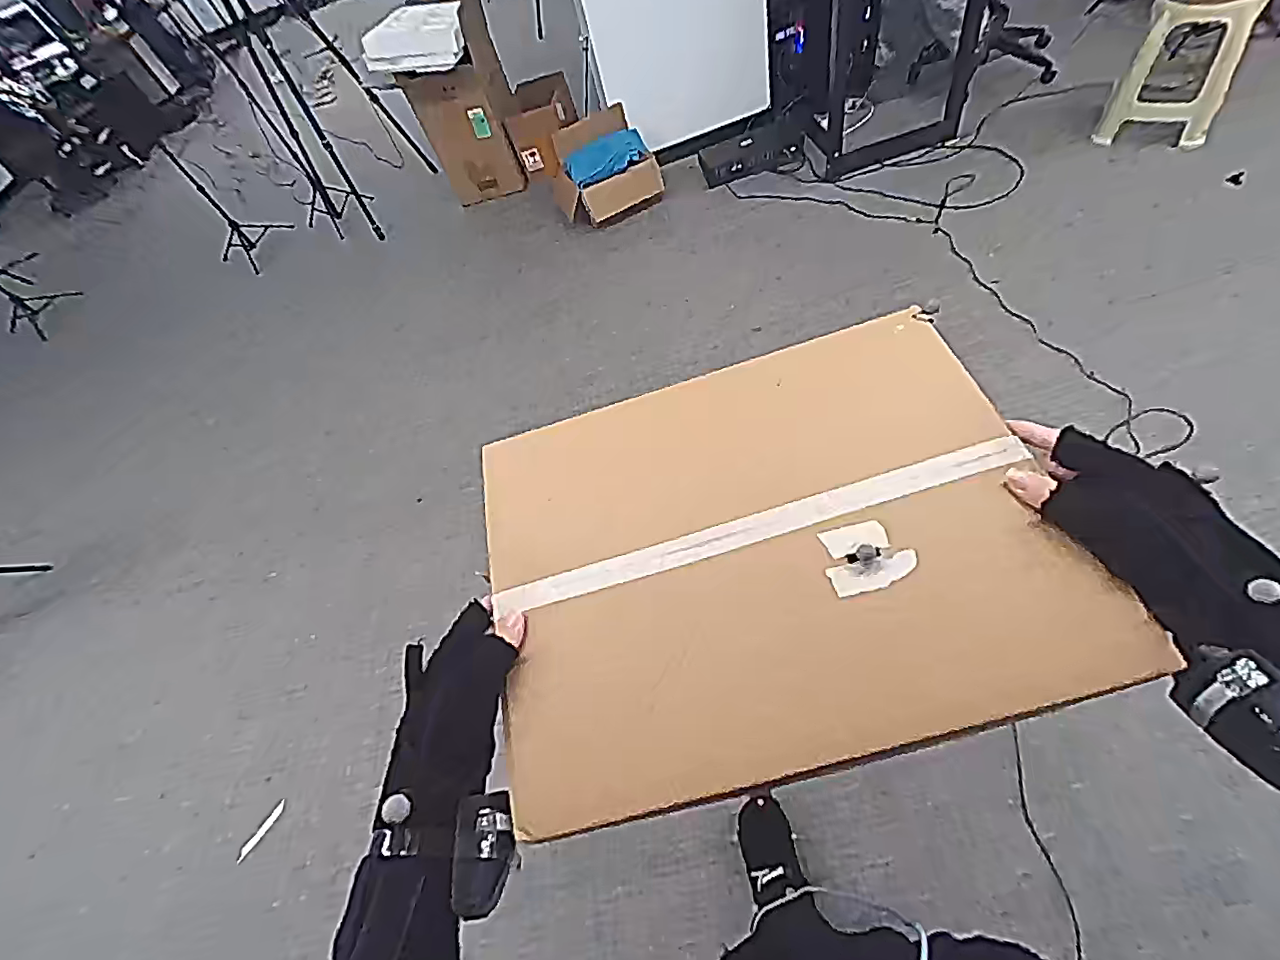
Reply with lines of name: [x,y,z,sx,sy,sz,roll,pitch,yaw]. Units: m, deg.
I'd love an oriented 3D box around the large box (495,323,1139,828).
large box: [0.114,0.115,0.543,0.408,0.320,0.320,-17,59,3]
